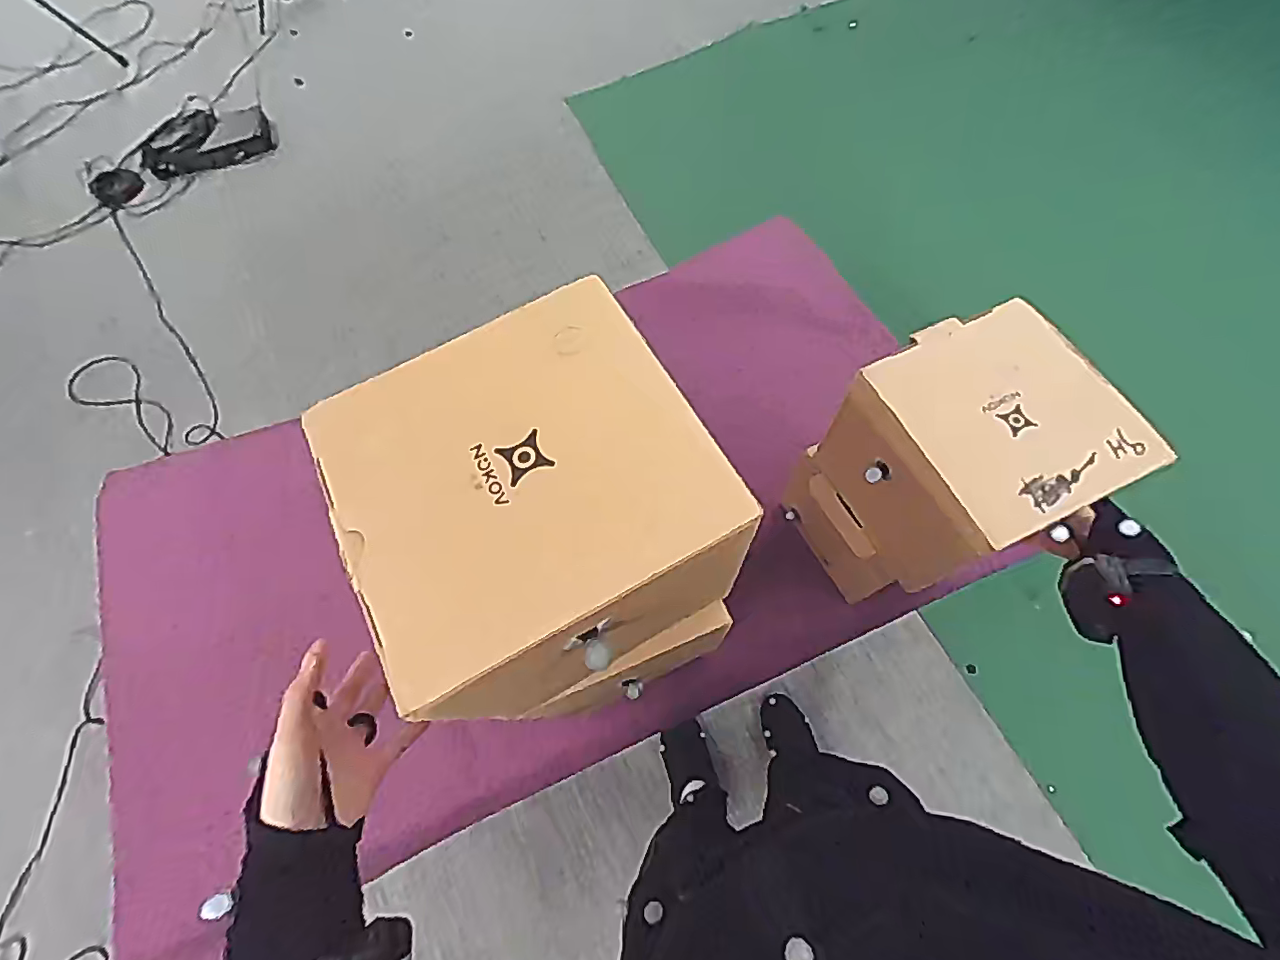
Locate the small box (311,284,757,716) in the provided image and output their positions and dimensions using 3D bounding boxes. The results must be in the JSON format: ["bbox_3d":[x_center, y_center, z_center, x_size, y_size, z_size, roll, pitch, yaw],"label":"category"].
[{"bbox_3d":[-0.053,0.023,0.337,0.179,0.176,0.168,-29,68,-7],"label":"small box"}]

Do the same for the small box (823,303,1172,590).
[{"bbox_3d":[0.297,-0.021,0.502,0.168,0.176,0.179,-25,67,-5],"label":"small box"}]

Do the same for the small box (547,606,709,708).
[{"bbox_3d":[-0.031,0.155,0.635,0.179,0.176,0.168,-24,67,-6],"label":"small box"}]

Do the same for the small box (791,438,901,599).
[{"bbox_3d":[0.303,0.027,0.660,0.179,0.176,0.168,-27,68,-7],"label":"small box"}]
